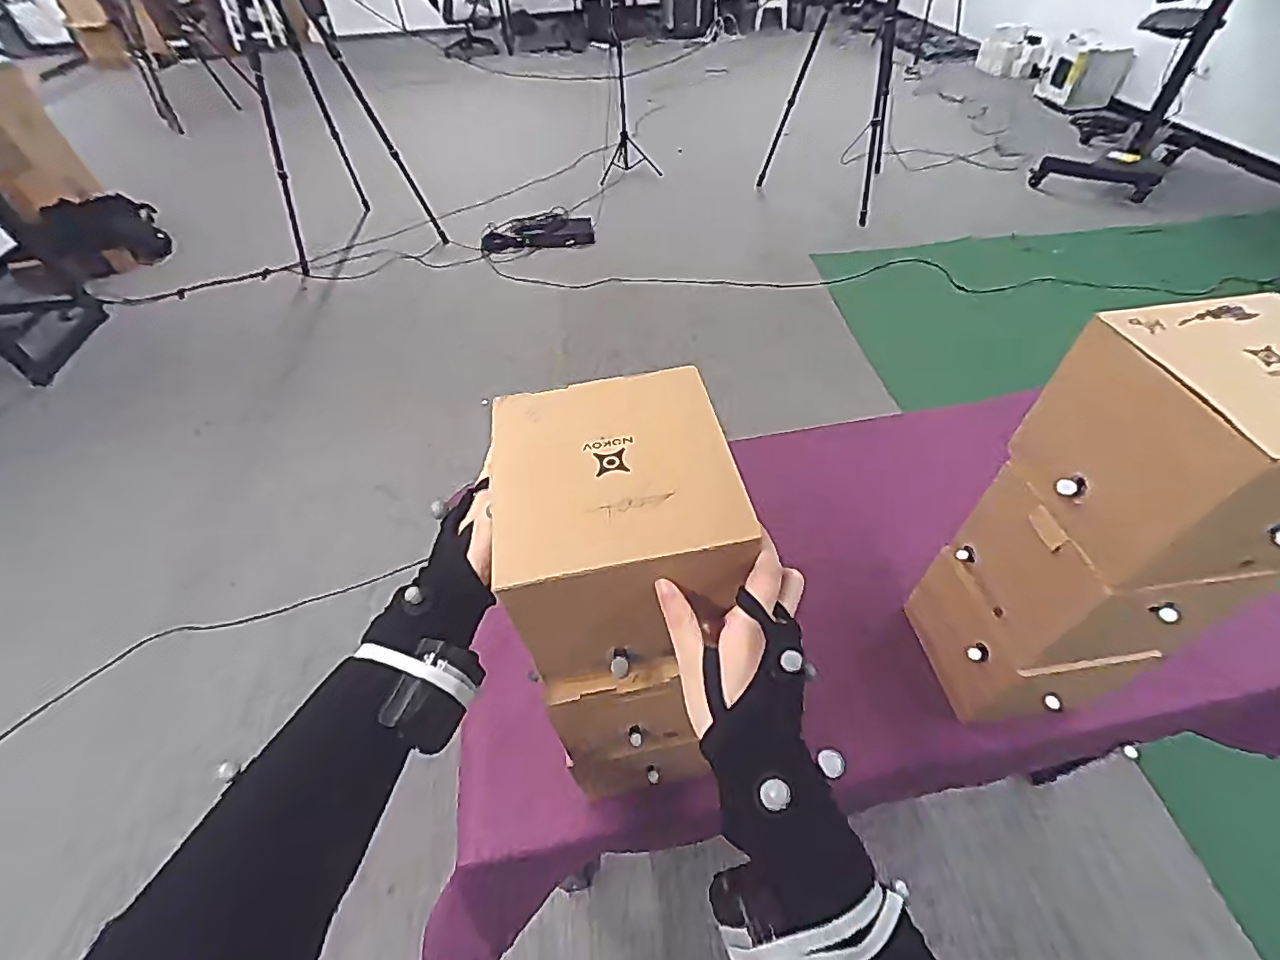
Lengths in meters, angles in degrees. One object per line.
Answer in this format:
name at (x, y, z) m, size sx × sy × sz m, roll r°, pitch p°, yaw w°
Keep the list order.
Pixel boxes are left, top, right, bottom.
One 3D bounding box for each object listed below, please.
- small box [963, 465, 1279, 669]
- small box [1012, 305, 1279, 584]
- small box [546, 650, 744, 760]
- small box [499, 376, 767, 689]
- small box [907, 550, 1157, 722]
small box at (0.487, 0.090, 0.585) m, size 0.179 × 0.176 × 0.168 m, roll -6°, pitch 49°, yaw -3°
small box at (0.478, -0.023, 0.467) m, size 0.168 × 0.176 × 0.179 m, roll -6°, pitch 50°, yaw -3°
small box at (-0.005, 0.159, 0.552) m, size 0.168 × 0.176 × 0.179 m, roll -9°, pitch 50°, yaw -5°
small box at (-0.012, 0.043, 0.437) m, size 0.168 × 0.176 × 0.179 m, roll -9°, pitch 50°, yaw -4°
small box at (0.486, 0.201, 0.707) m, size 0.168 × 0.176 × 0.179 m, roll -7°, pitch 49°, yaw -3°
